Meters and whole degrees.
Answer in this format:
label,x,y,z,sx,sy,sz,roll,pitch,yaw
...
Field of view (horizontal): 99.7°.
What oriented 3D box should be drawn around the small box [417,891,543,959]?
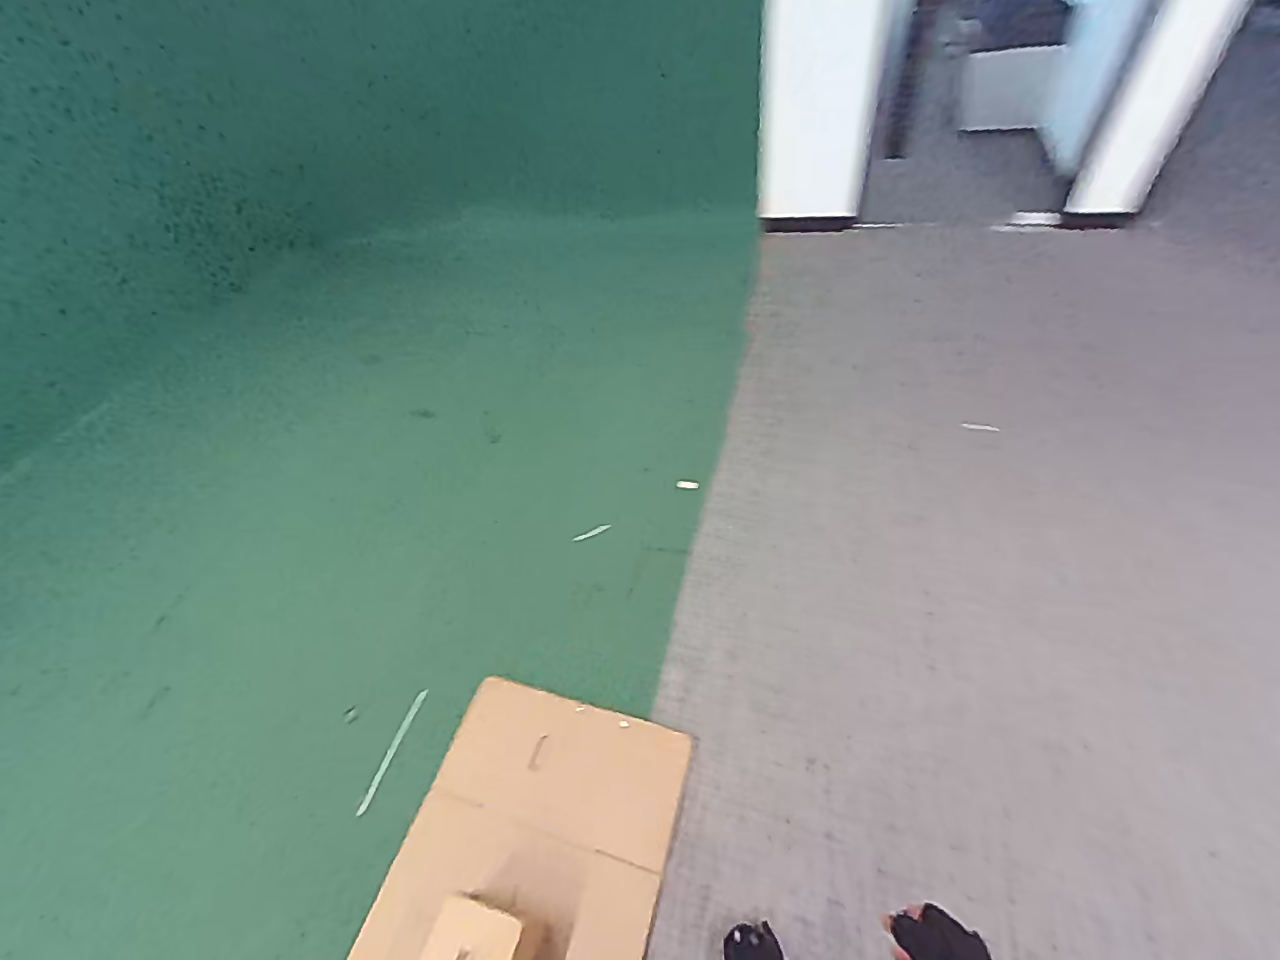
label,x,y,z,sx,sy,sz,roll,pitch,yaw
small box,-0.316,0.938,1.059,0.179,0.176,0.168,8,53,16
